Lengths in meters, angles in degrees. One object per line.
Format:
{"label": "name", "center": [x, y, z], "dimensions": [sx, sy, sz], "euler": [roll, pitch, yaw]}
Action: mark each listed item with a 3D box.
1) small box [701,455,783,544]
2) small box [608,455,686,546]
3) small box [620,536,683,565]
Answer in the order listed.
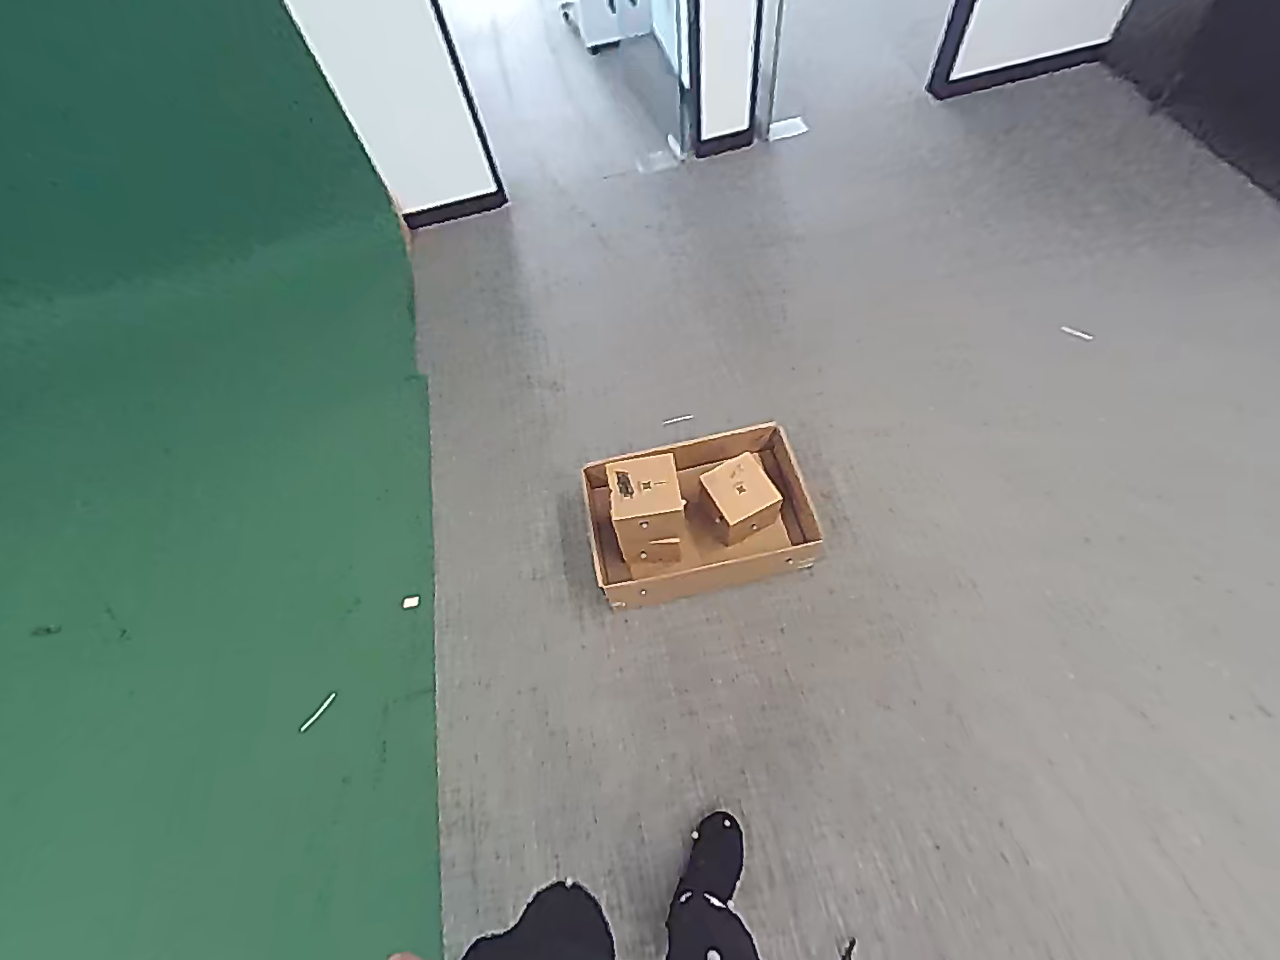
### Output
{"label": "small box", "center": [0.289, 0.064, 1.552], "dimensions": [0.168, 0.176, 0.179], "euler": [-26, 61, -7]}
{"label": "small box", "center": [0.020, 0.059, 1.402], "dimensions": [0.179, 0.176, 0.168], "euler": [-8, 60, 0]}
{"label": "small box", "center": [0.037, 0.137, 1.545], "dimensions": [0.168, 0.176, 0.179], "euler": [-2, 60, 5]}
